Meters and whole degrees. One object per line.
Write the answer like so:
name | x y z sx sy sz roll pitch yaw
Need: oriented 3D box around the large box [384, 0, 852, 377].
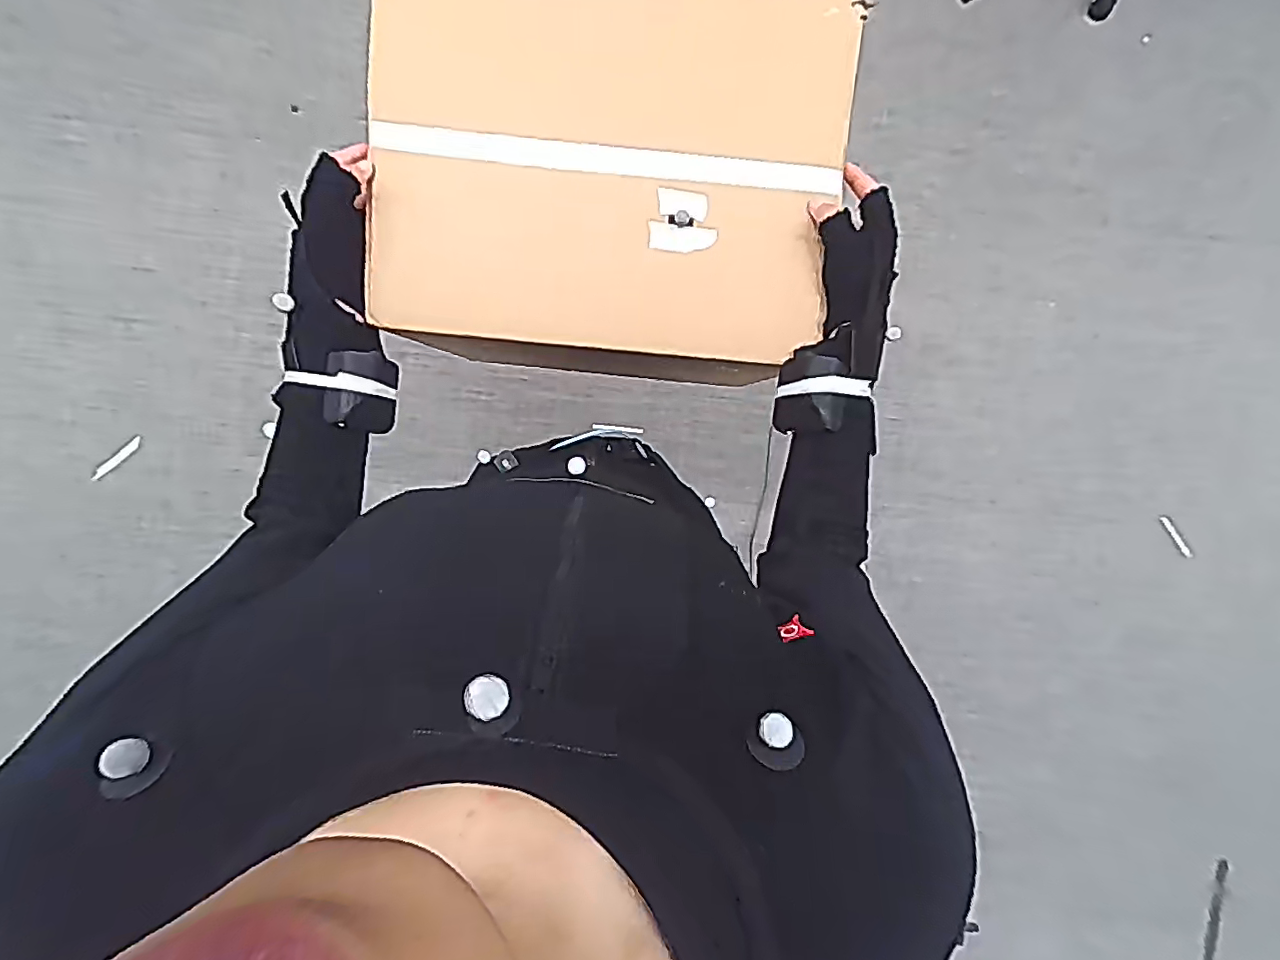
large box | -0.030 -0.299 0.627 0.408 0.320 0.320 5 98 -3
